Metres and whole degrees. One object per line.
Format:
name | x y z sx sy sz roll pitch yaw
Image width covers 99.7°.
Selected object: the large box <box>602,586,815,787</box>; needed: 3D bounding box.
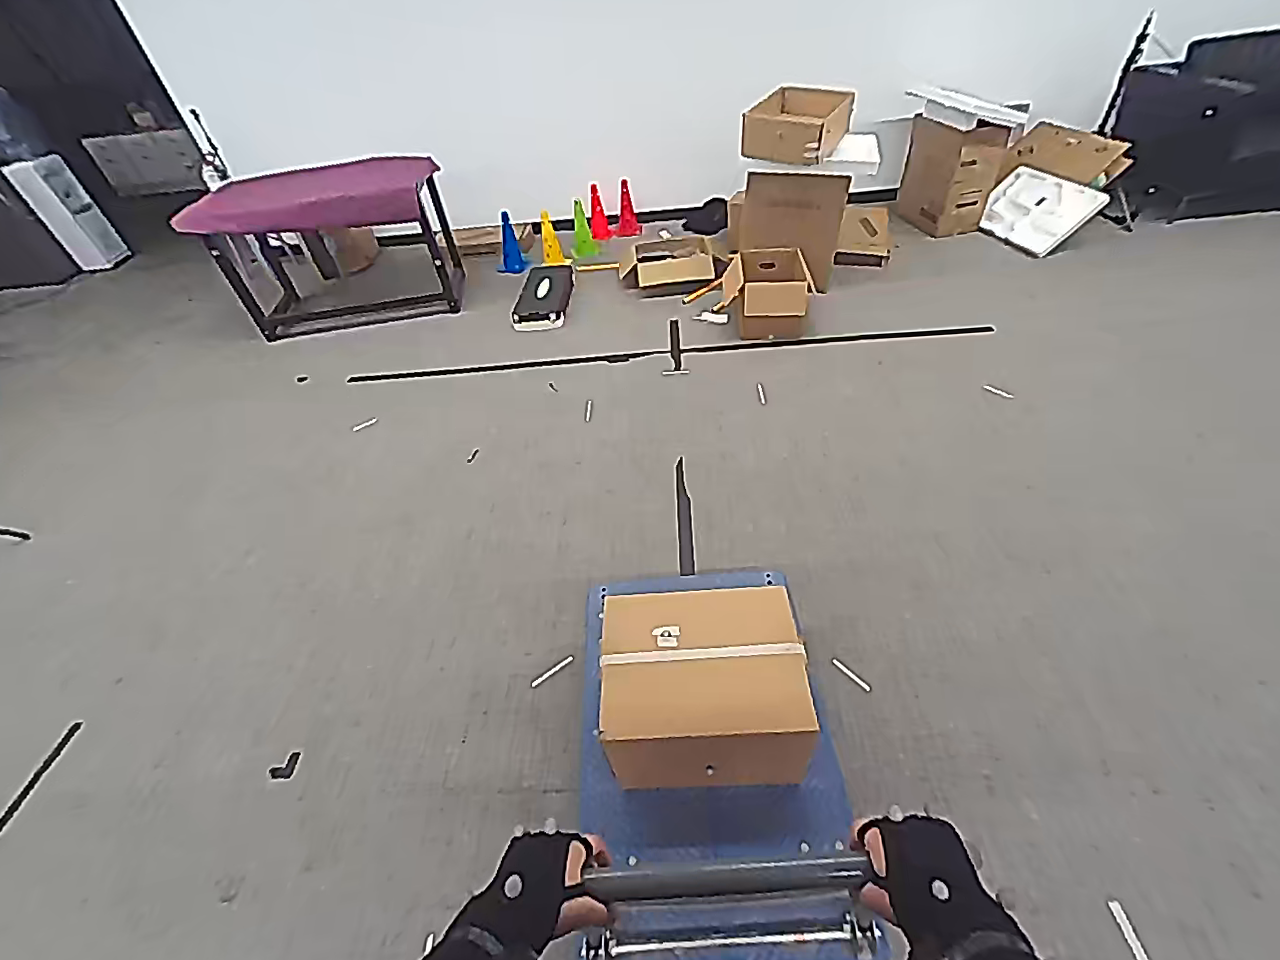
large box | 0.140 0.468 1.214 0.408 0.320 0.320 -5 44 4
